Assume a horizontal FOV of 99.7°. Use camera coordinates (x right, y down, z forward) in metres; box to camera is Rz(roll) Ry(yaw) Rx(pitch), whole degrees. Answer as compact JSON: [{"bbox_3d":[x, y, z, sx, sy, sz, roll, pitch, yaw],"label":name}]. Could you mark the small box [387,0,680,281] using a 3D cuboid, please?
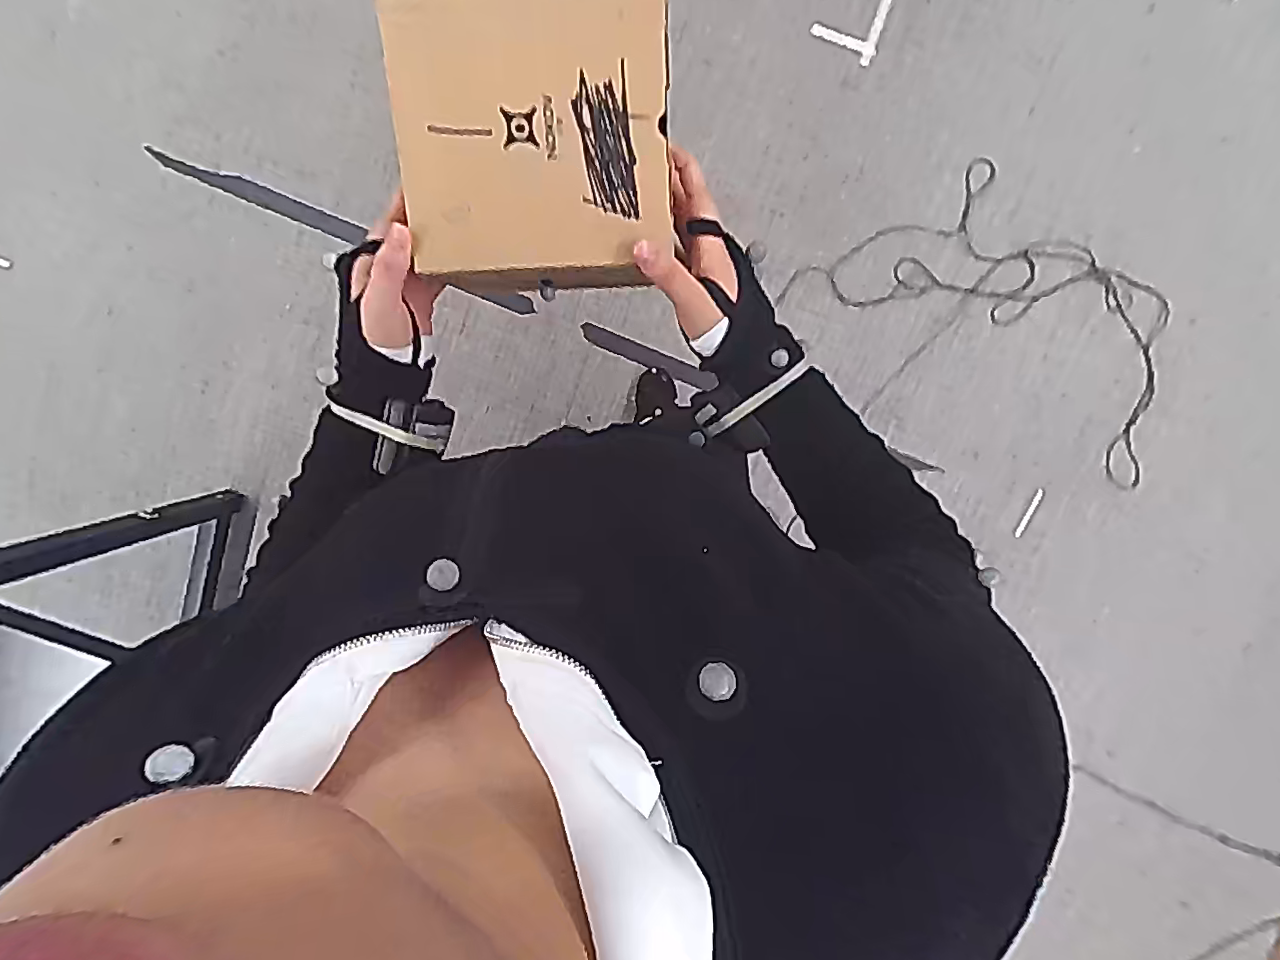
[{"bbox_3d":[-0.066,-0.249,0.417,0.179,0.176,0.168,-2,105,-1],"label":"small box"}]
